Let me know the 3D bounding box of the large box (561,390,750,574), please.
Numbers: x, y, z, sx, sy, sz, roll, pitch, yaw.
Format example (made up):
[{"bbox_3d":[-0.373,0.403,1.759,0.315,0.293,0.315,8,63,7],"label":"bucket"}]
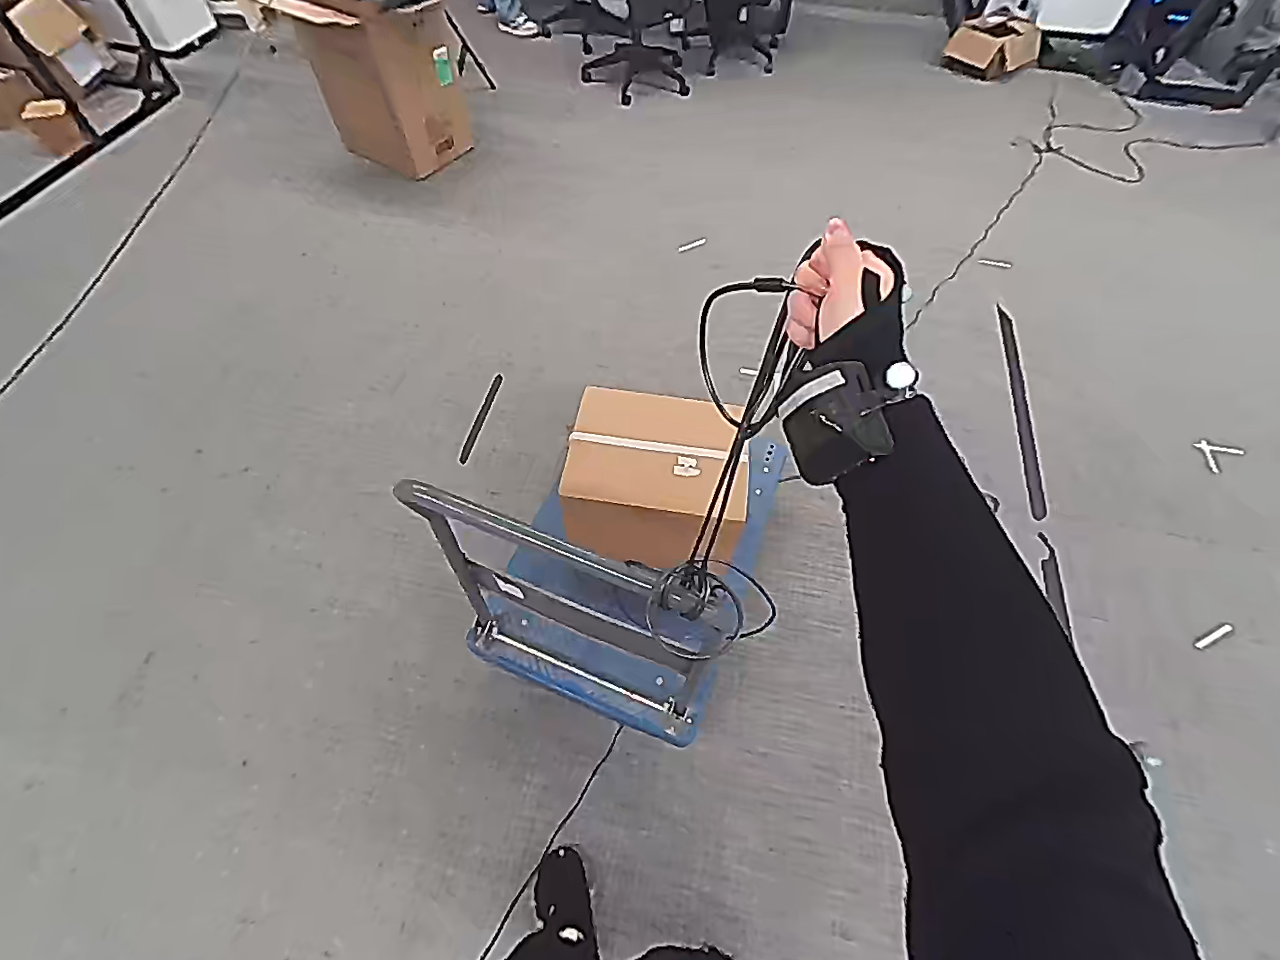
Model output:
[{"bbox_3d":[0.039,0.013,1.344,0.408,0.320,0.320,9,59,3],"label":"large box"}]
